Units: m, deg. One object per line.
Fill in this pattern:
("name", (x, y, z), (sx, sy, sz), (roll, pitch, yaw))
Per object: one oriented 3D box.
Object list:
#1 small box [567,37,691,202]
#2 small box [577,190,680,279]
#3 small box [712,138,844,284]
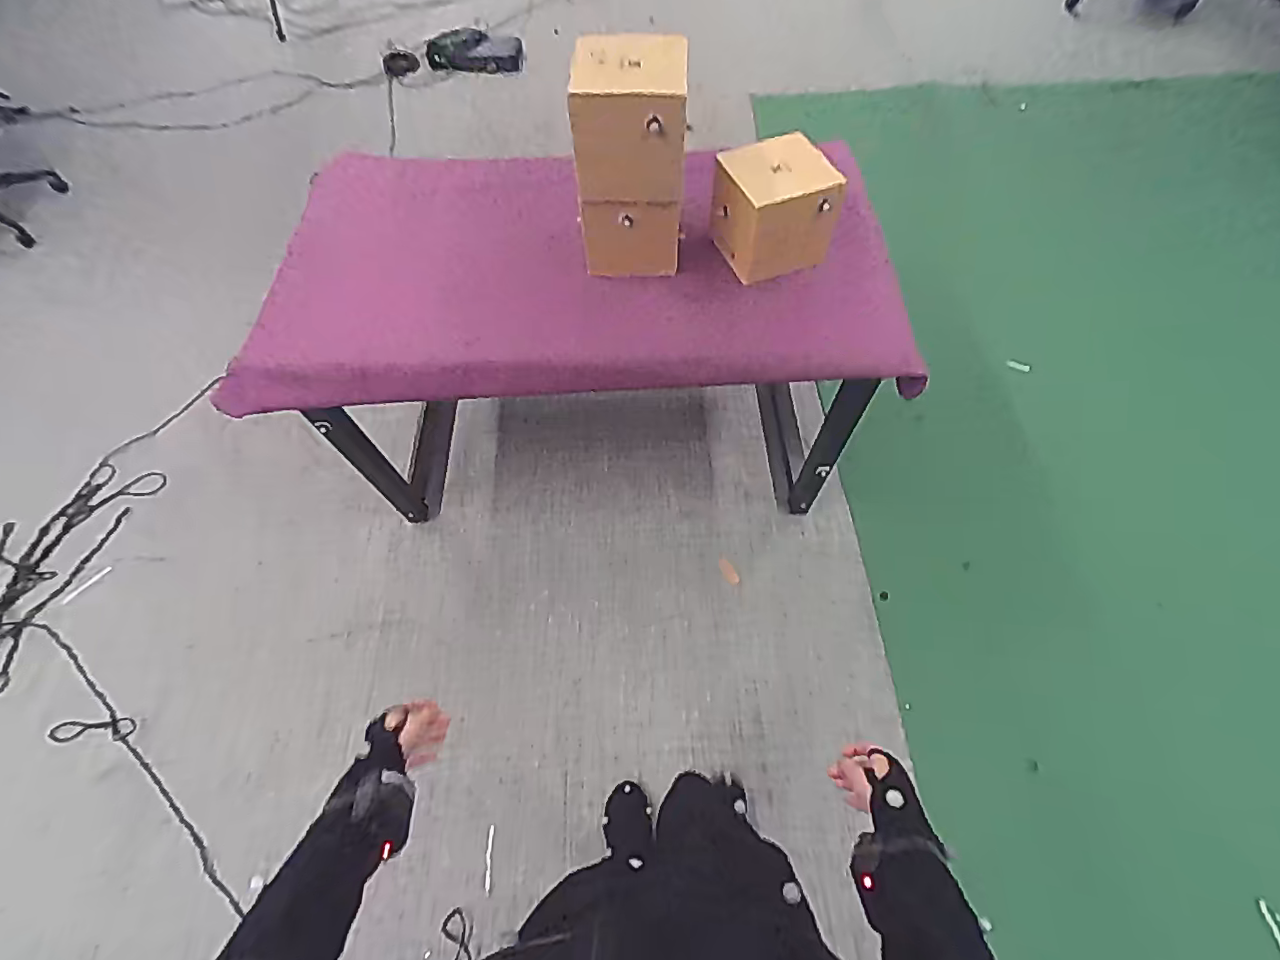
("small box", (-0.012, -0.573, 0.872), (0.179, 0.176, 0.168), (2, 61, 3))
("small box", (-0.015, -0.502, 1.021), (0.179, 0.176, 0.168), (2, 62, 2))
("small box", (0.244, -0.497, 1.013), (0.179, 0.176, 0.168), (-19, 62, -9))
